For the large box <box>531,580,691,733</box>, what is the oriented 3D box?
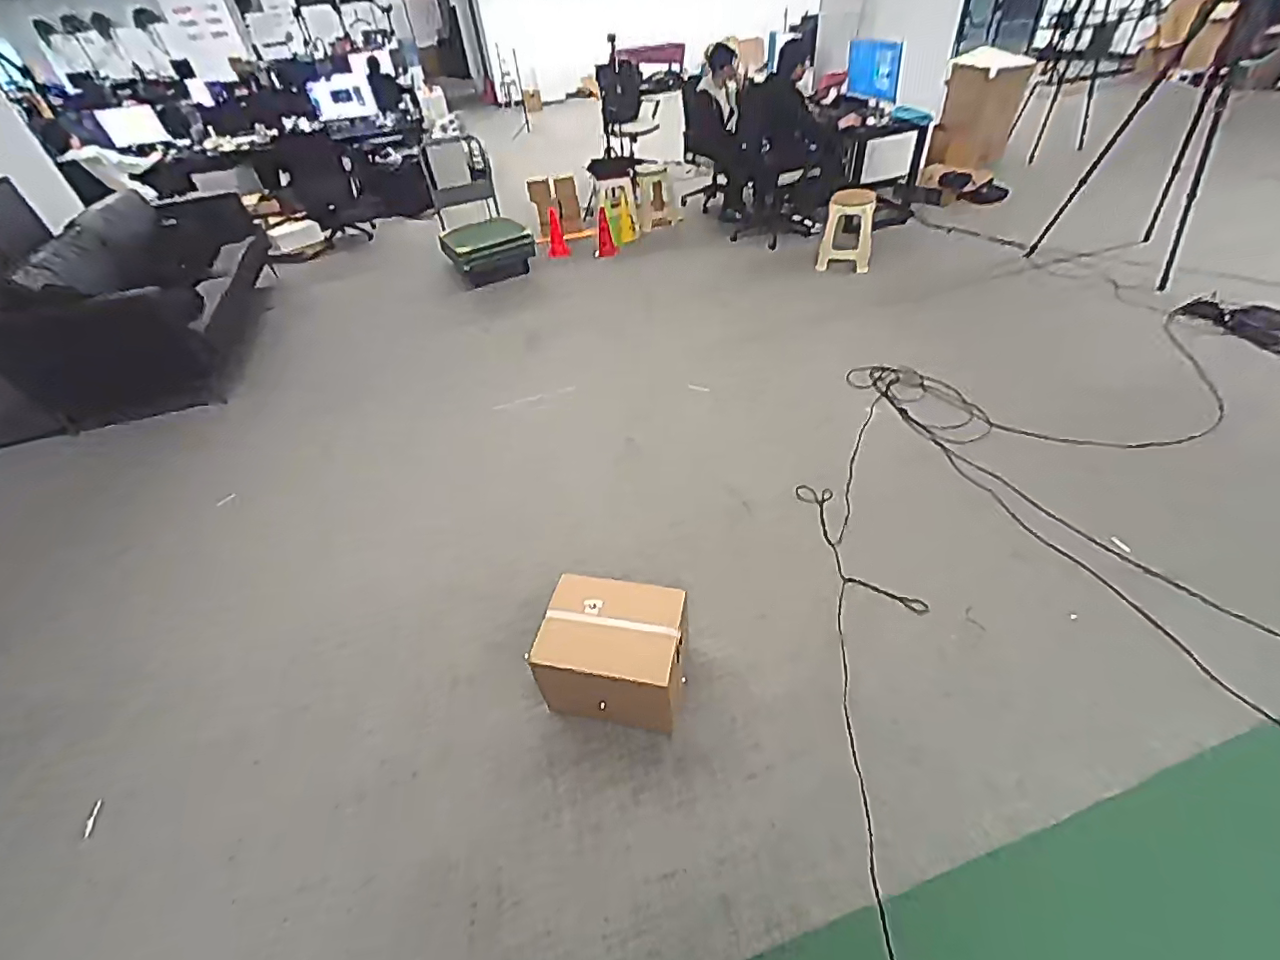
[{"bbox_3d":[-0.065,0.542,1.672,0.408,0.320,0.320,4,43,14],"label":"large box"}]
